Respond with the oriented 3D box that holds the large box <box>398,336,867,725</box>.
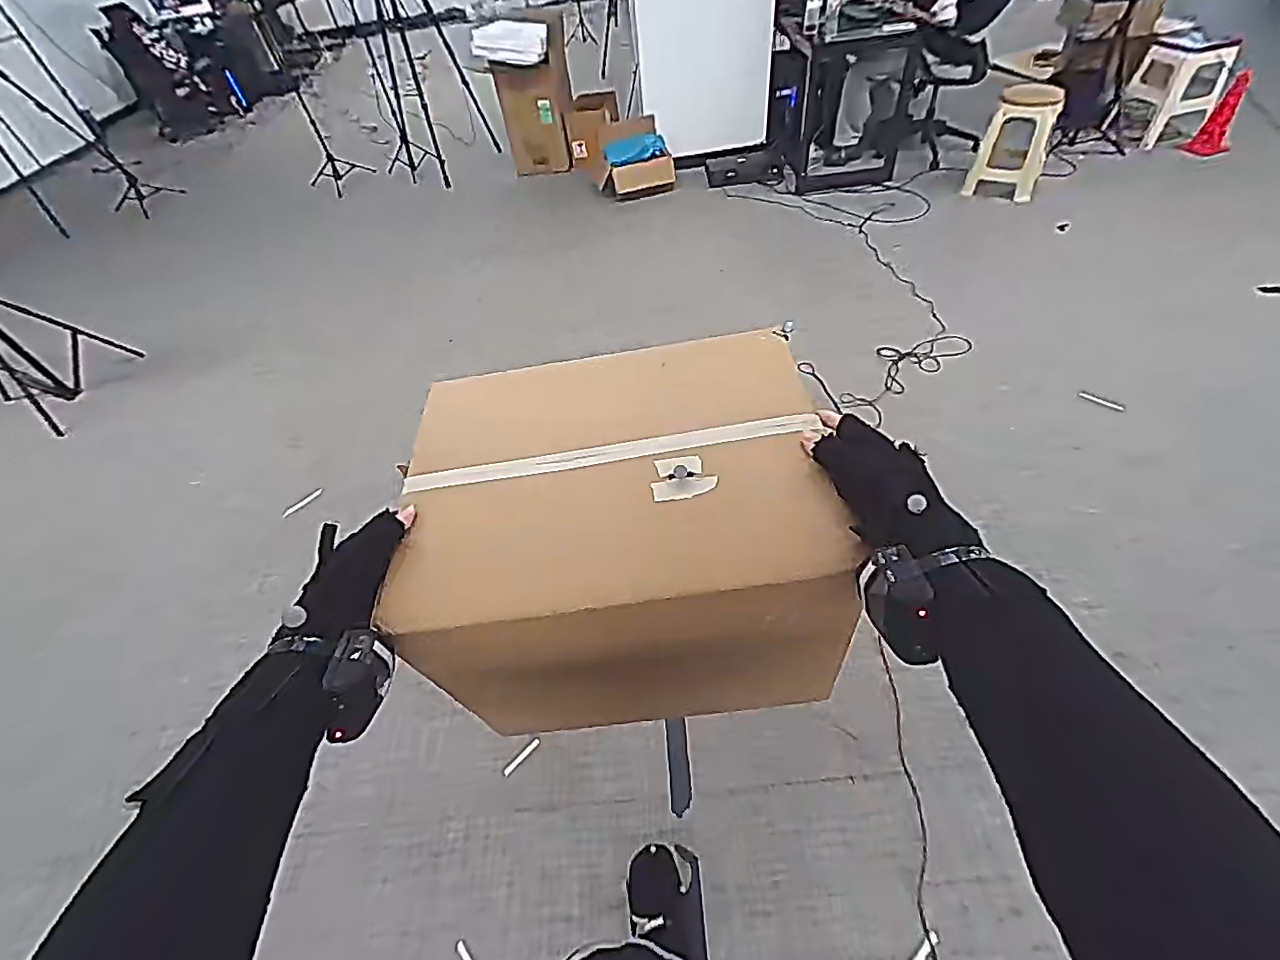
[{"bbox_3d":[-0.004,0.071,0.652,0.408,0.320,0.320,-8,51,3],"label":"large box"}]
